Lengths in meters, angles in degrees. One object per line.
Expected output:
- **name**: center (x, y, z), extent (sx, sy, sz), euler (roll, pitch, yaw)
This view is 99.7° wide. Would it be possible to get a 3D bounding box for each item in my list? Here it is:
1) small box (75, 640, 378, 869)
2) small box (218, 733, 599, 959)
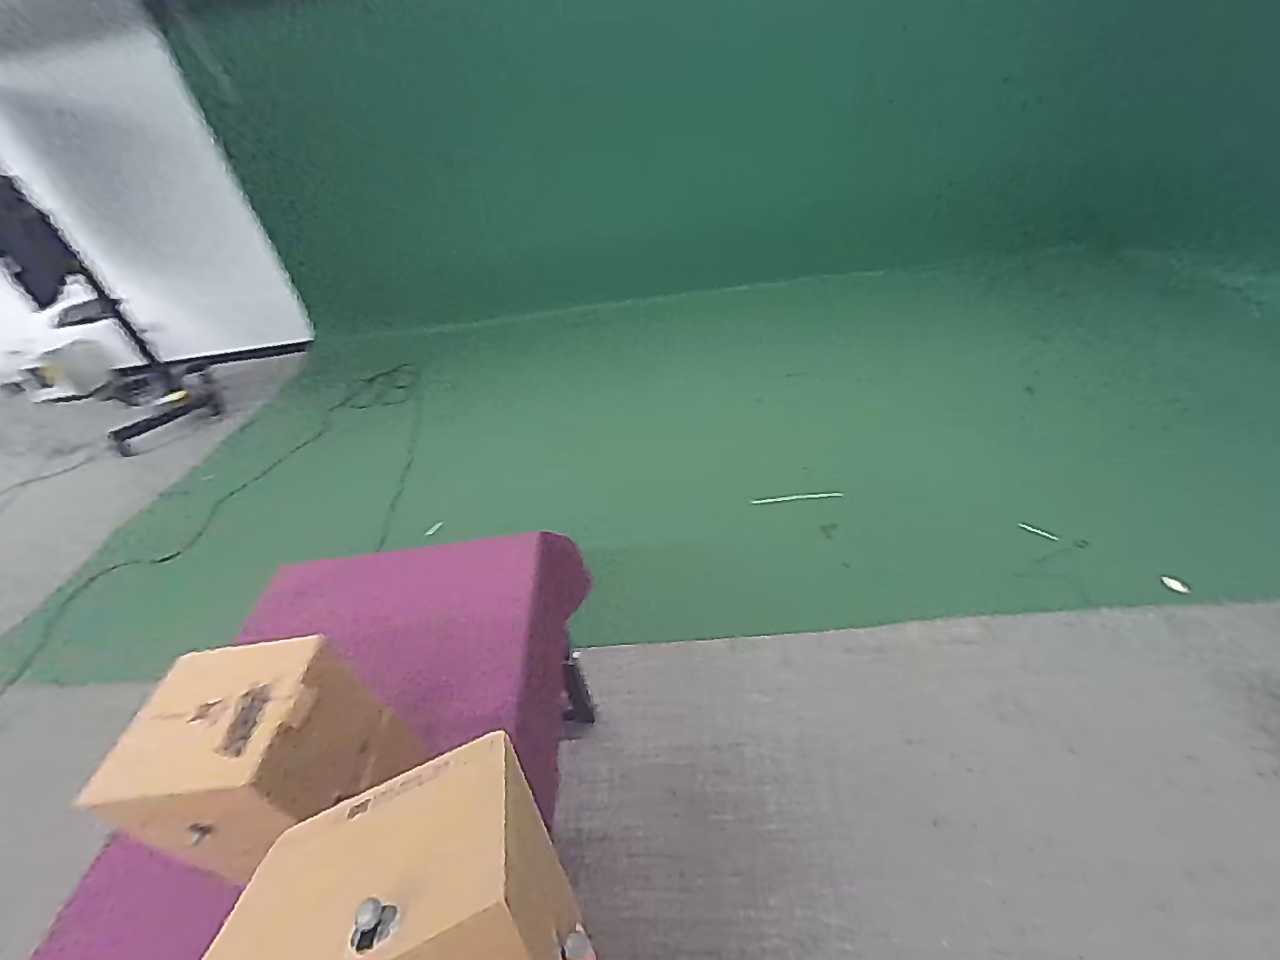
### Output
- **small box**: center (-0.430, 0.307, 0.606), extent (0.179, 0.176, 0.168), euler (-10, 37, 3)
- **small box**: center (-0.120, 0.296, 0.325), extent (0.168, 0.179, 0.176), euler (-21, 7, -13)
